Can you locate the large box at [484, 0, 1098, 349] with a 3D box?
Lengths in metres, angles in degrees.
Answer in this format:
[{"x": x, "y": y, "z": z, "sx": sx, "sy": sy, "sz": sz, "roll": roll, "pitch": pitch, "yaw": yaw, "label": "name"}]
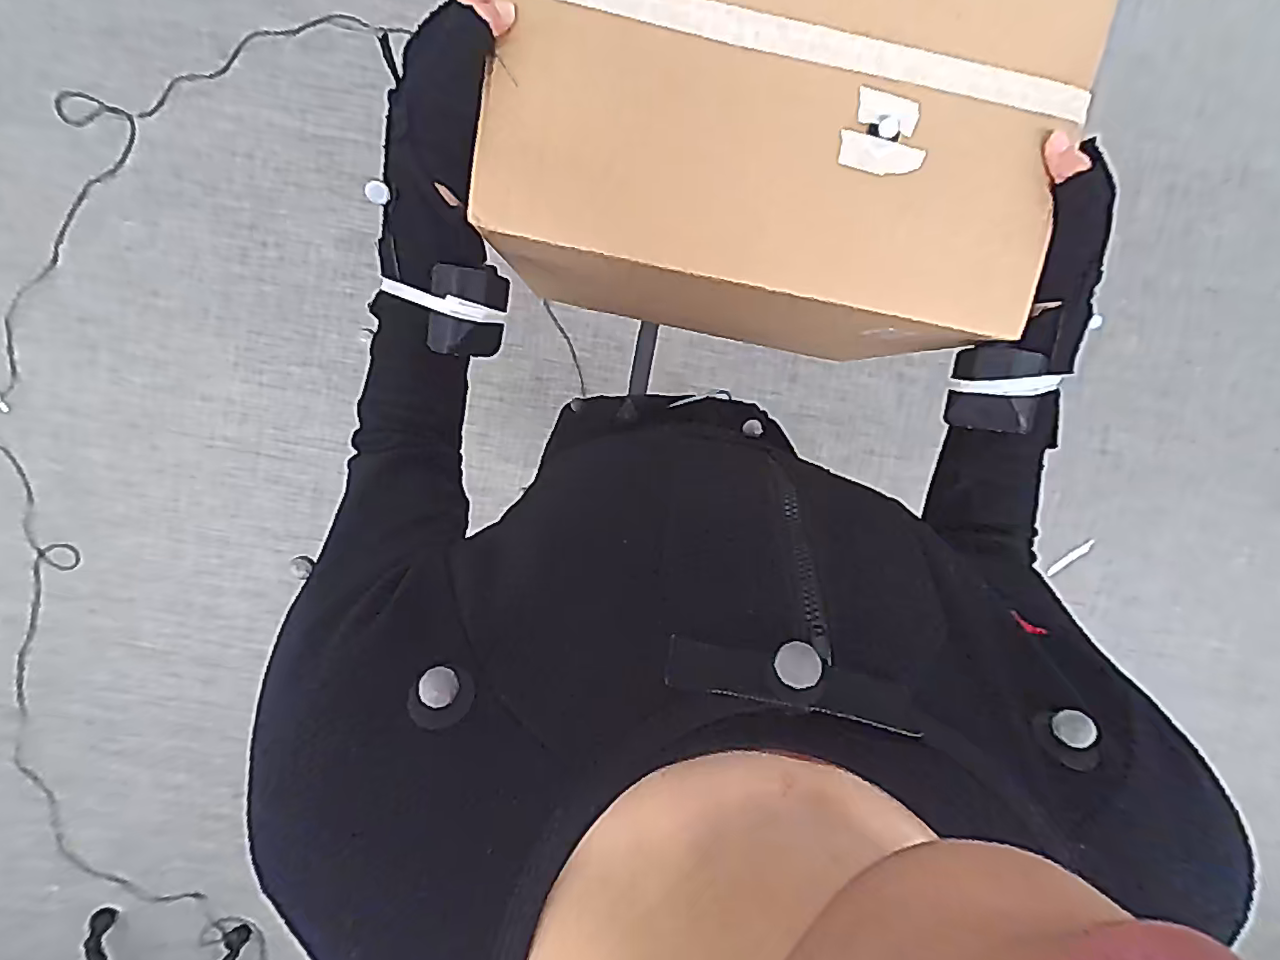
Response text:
[{"x": 0.099, "y": -0.323, "z": 0.517, "sx": 0.408, "sy": 0.320, "sz": 0.320, "roll": 10, "pitch": 100, "yaw": -5, "label": "large box"}]
